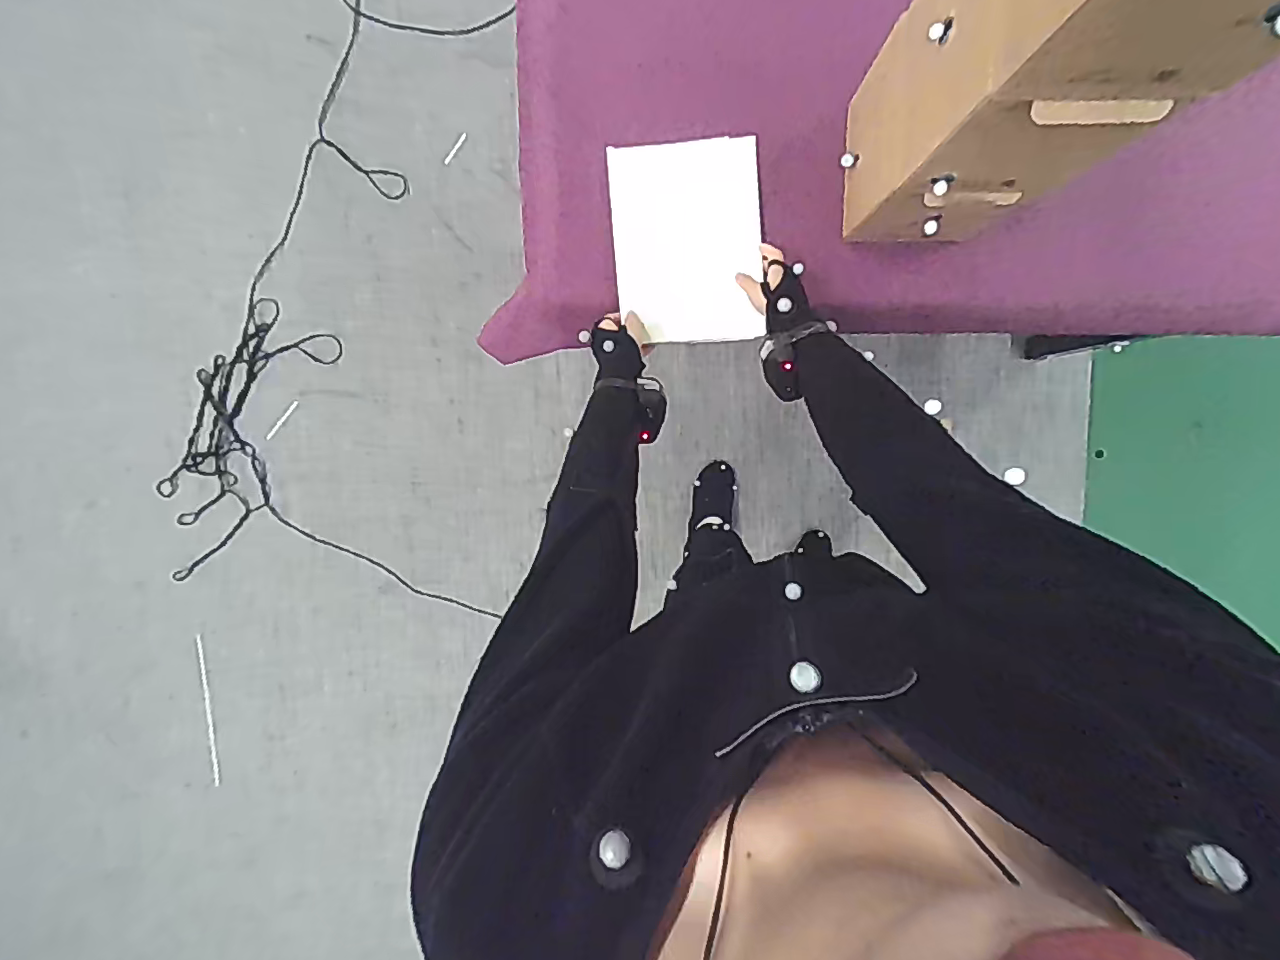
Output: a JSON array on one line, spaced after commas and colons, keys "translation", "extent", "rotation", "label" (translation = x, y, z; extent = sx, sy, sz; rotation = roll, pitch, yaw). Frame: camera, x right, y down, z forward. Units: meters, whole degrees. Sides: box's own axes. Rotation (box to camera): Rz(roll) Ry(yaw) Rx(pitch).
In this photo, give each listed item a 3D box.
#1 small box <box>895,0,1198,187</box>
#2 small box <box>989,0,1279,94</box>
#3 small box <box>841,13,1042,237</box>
[{"translation": [0.344, -0.382, 0.480], "extent": [0.168, 0.176, 0.179], "rotation": [1, 94, 2], "label": "small box"}, {"translation": [0.339, -0.364, 0.318], "extent": [0.168, 0.176, 0.179], "rotation": [1, 94, 1], "label": "small box"}, {"translation": [0.350, -0.402, 0.643], "extent": [0.168, 0.176, 0.179], "rotation": [1, 95, 1], "label": "small box"}]
